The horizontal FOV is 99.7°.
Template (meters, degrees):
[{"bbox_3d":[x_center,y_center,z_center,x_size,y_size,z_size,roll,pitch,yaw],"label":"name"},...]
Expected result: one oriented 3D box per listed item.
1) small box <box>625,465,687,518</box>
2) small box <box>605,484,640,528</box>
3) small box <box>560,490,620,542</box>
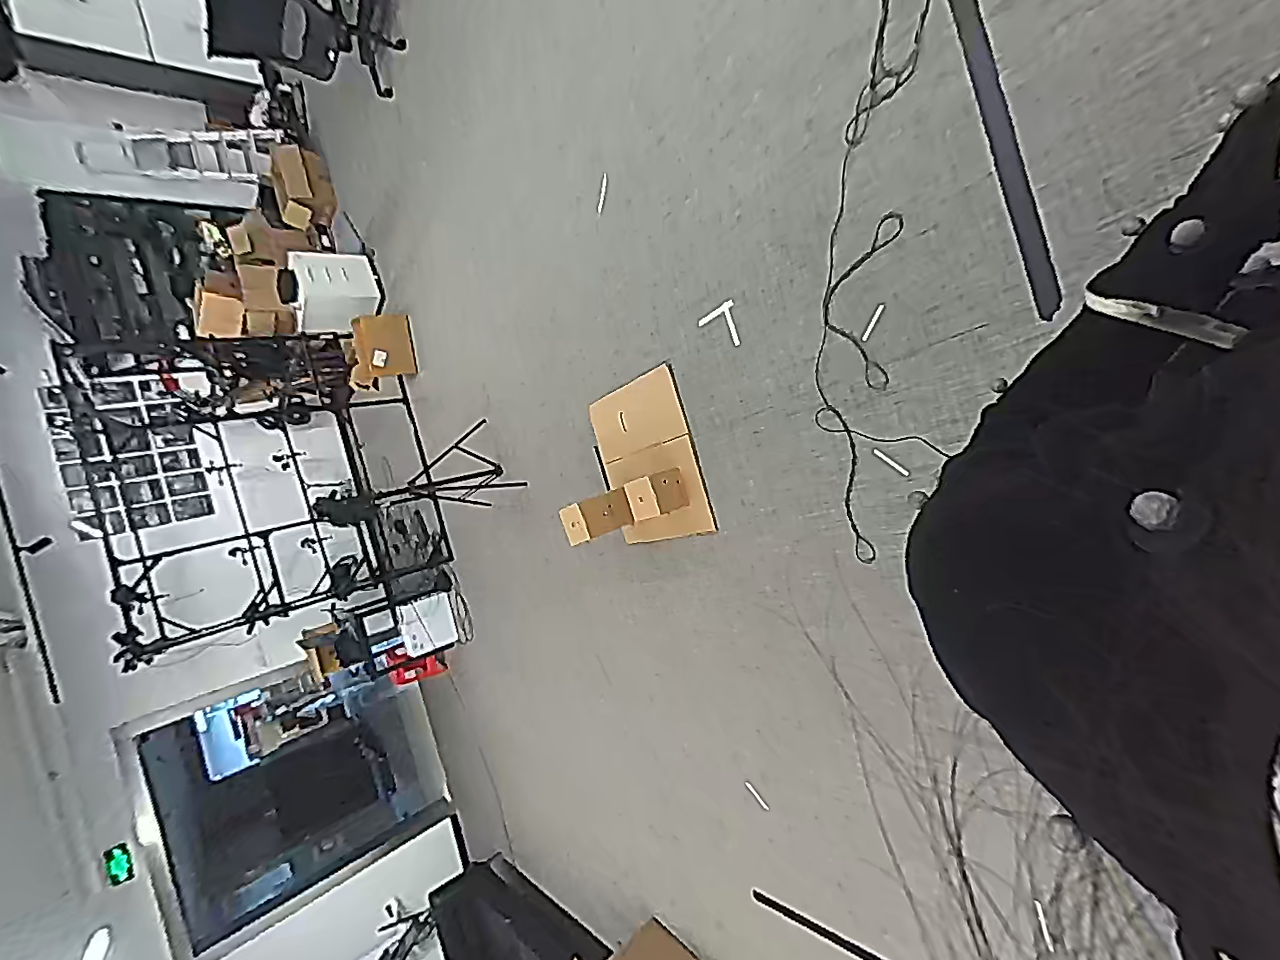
[{"bbox_3d":[0.072,0.046,2.220,0.179,0.176,0.168,-21,85,52],"label":"small box"},{"bbox_3d":[-0.091,0.116,2.441,0.179,0.176,0.168,-28,80,50],"label":"small box"},{"bbox_3d":[-0.215,0.157,2.339,0.179,0.176,0.168,-25,84,51],"label":"small box"}]
